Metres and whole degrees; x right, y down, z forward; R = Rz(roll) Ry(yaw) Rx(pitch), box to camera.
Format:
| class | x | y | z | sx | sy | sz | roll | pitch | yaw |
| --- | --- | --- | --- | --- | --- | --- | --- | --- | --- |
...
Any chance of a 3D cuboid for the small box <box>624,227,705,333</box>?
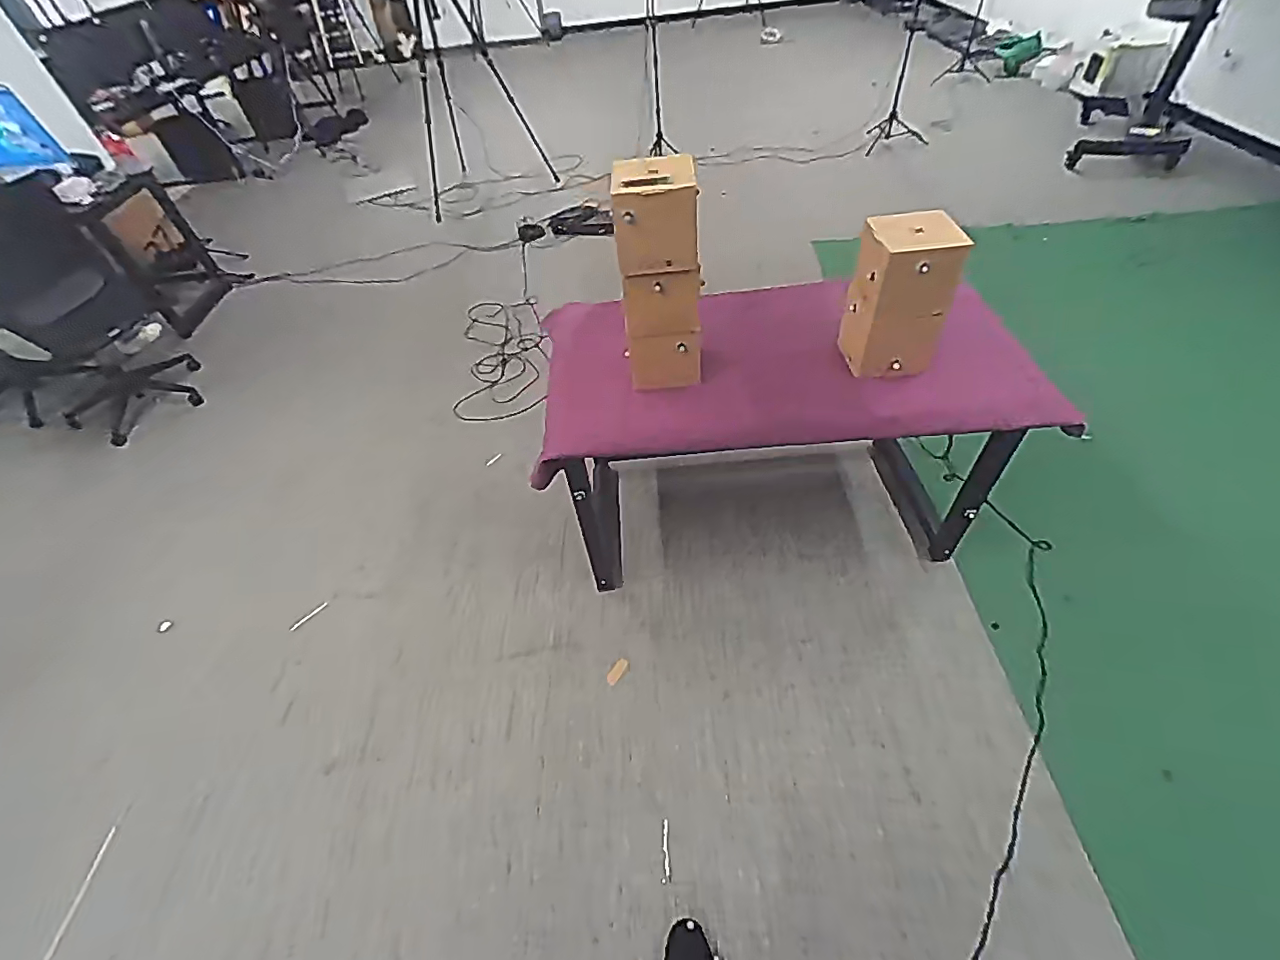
| class | x | y | z | sx | sy | sz | roll | pitch | yaw |
| --- | --- | --- | --- | --- | --- | --- | --- | --- | --- |
| small box | 0.059 | -0.463 | 1.264 | 0.179 | 0.176 | 0.168 | -5 | 50 | 4 |

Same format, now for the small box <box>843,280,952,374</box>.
| class | x | y | z | sx | sy | sz | roll | pitch | yaw |
| --- | --- | --- | --- | --- | --- | --- | --- | --- | --- |
| small box | 0.625 | -0.382 | 1.336 | 0.179 | 0.176 | 0.168 | -5 | 49 | 3 |

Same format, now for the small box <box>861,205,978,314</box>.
| class | x | y | z | sx | sy | sz | roll | pitch | yaw |
| --- | --- | --- | --- | --- | --- | --- | --- | --- | --- |
| small box | 0.610 | -0.489 | 1.213 | 0.179 | 0.176 | 0.168 | -5 | 50 | 4 |

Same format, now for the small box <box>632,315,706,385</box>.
| class | x | y | z | sx | sy | sz | roll | pitch | yaw |
| --- | --- | --- | --- | --- | --- | --- | --- | --- | --- |
| small box | 0.074 | -0.361 | 1.388 | 0.179 | 0.176 | 0.168 | -4 | 49 | 3 |
